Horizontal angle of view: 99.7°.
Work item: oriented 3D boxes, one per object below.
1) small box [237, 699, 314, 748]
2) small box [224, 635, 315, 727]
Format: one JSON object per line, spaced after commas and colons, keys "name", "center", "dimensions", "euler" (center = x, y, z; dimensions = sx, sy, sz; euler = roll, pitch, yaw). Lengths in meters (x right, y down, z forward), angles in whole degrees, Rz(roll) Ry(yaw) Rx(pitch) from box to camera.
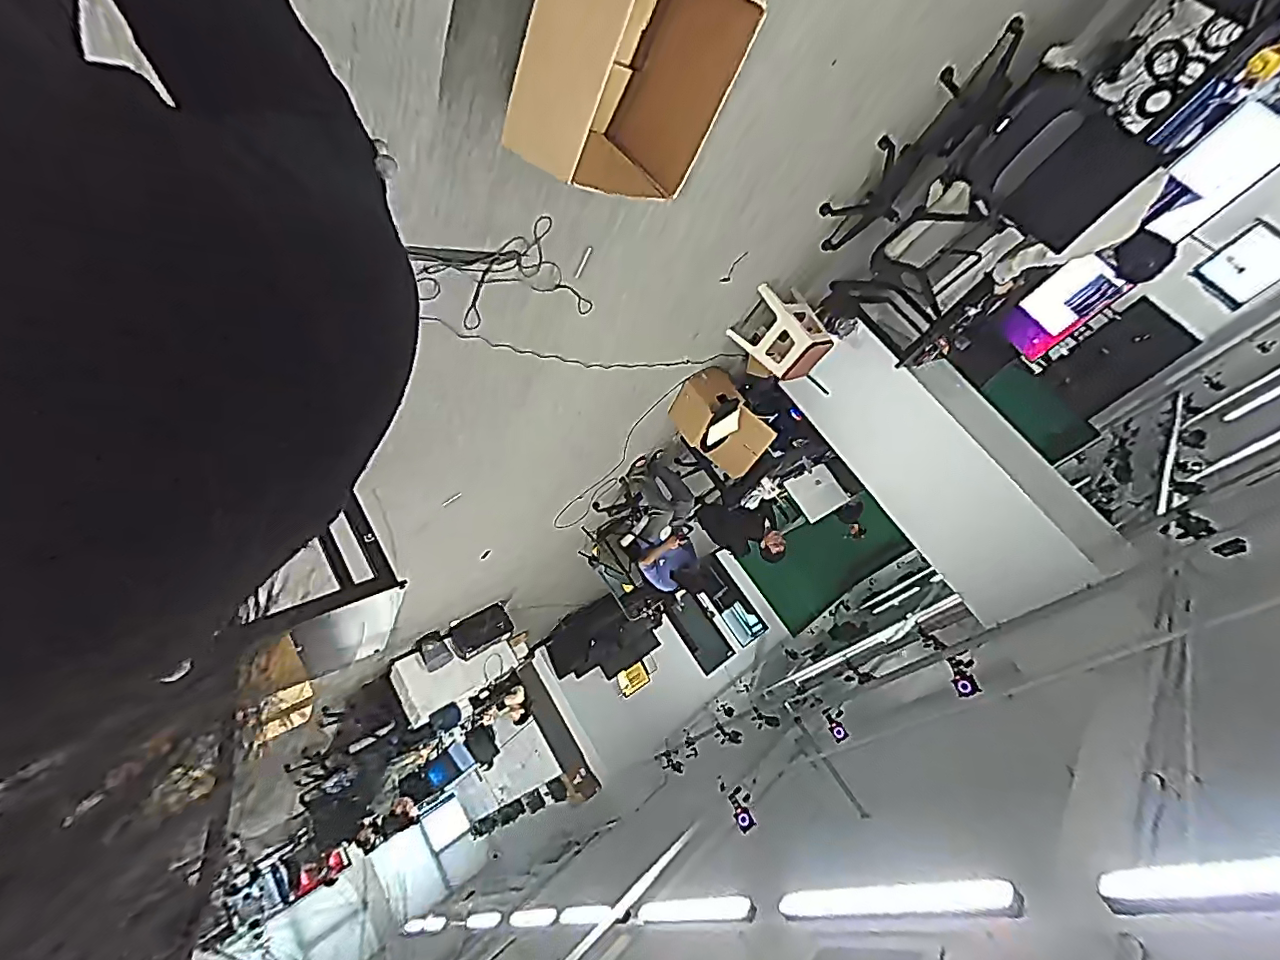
{"name": "small box", "center": [-1.176, 0.723, 1.742], "dimensions": [0.168, 0.176, 0.179], "euler": [-19, 156, -43]}
{"name": "small box", "center": [-1.060, 0.570, 1.550], "dimensions": [0.168, 0.176, 0.179], "euler": [-22, 158, -36]}
